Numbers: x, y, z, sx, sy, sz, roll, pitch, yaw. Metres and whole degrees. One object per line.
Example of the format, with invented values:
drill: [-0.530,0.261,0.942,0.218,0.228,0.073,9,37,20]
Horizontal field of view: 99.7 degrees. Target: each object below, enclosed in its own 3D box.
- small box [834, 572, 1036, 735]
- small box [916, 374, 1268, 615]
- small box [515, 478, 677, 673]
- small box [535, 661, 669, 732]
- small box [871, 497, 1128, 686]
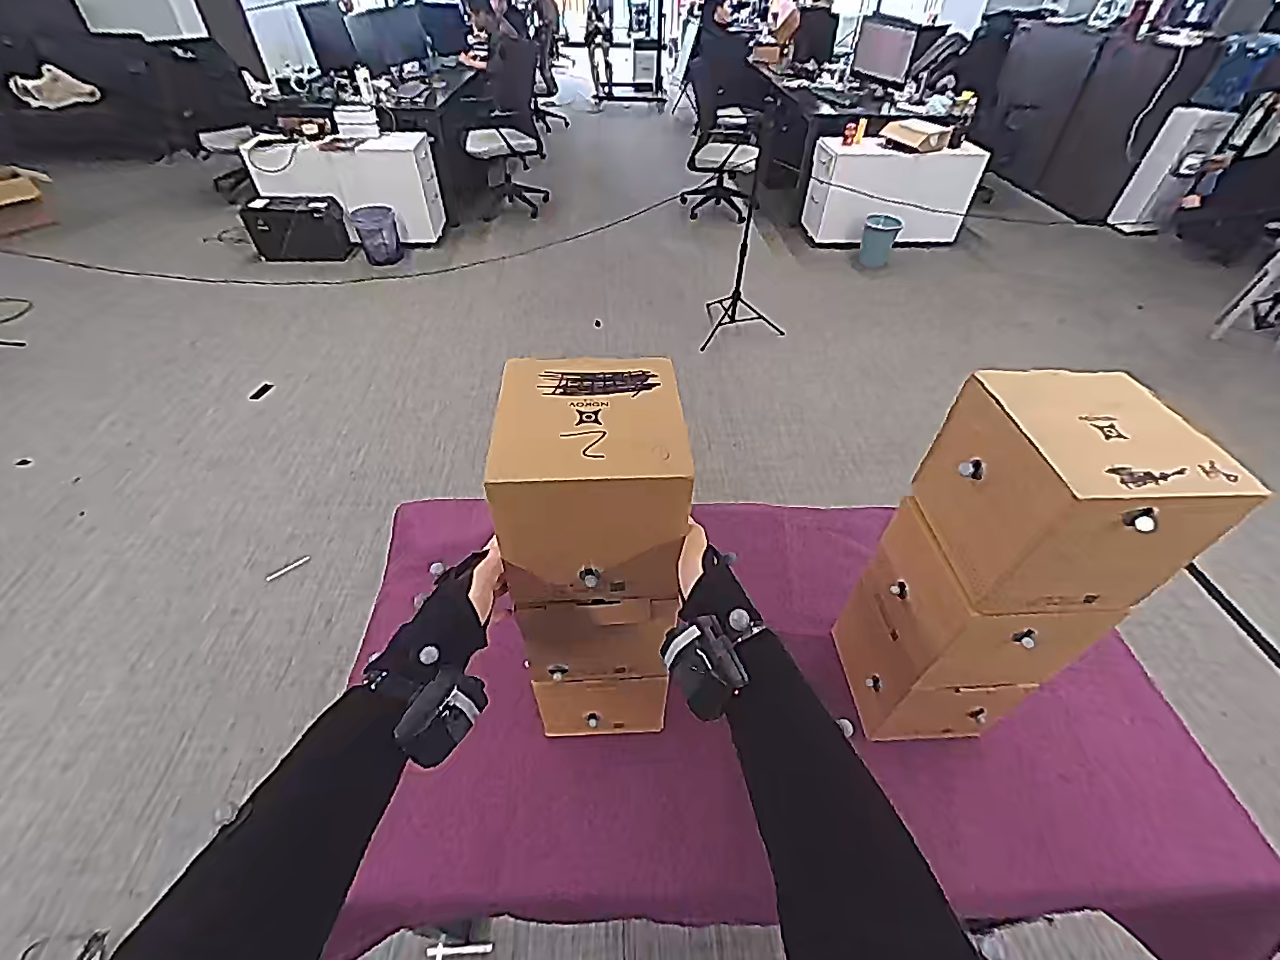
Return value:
small box: [0.397,0.248,0.767,0.168,0.176,0.179,0,44,-3]
small box: [0.409,0.013,0.537,0.168,0.176,0.179,-1,45,-3]
small box: [-0.049,0.119,0.650,0.168,0.176,0.179,-2,45,-5]
small box: [-0.053,0.235,0.765,0.168,0.176,0.179,-1,46,-3]
small box: [0.400,0.134,0.649,0.179,0.176,0.168,-1,46,-4]
